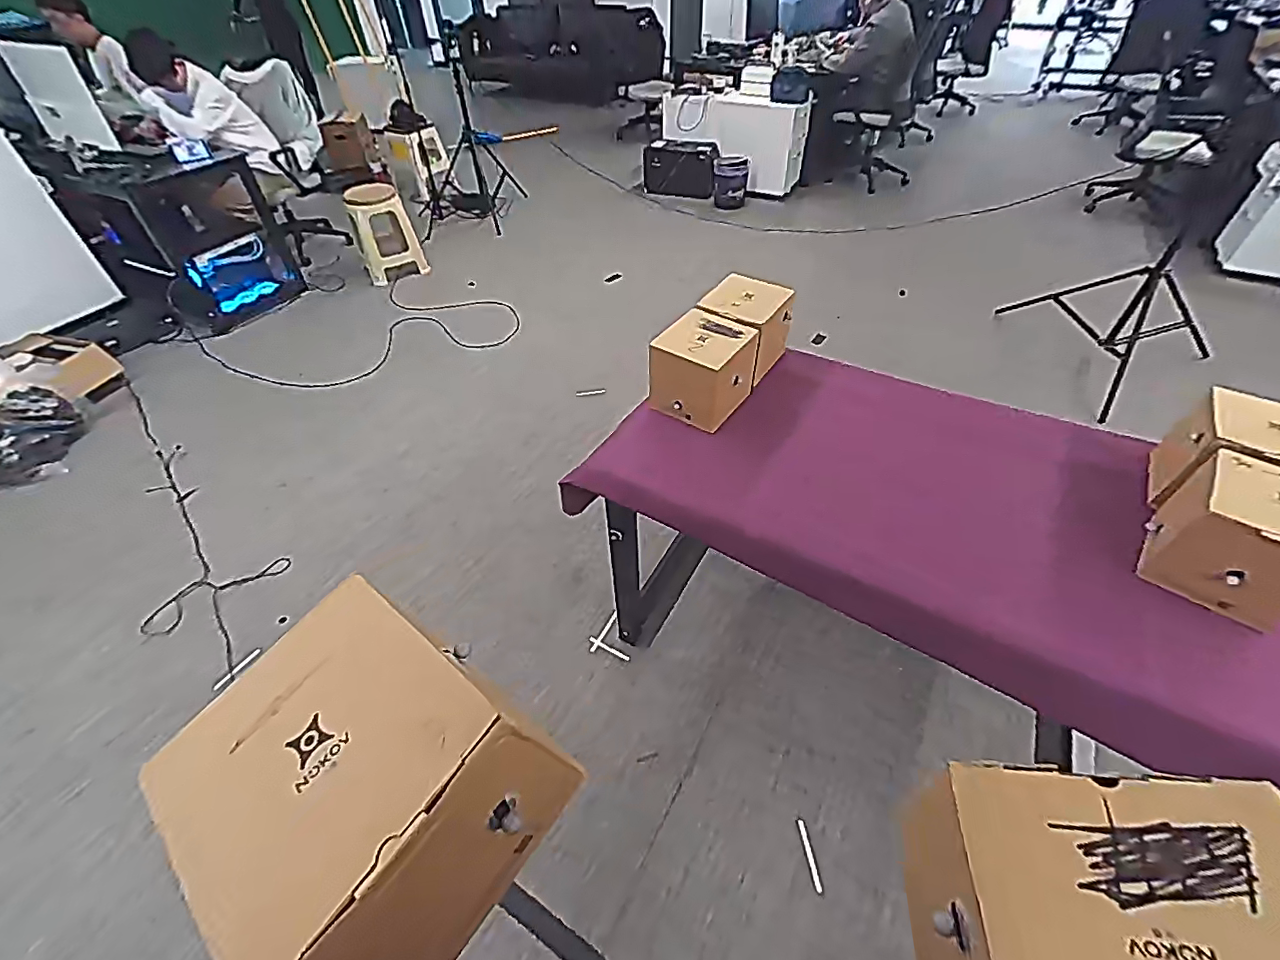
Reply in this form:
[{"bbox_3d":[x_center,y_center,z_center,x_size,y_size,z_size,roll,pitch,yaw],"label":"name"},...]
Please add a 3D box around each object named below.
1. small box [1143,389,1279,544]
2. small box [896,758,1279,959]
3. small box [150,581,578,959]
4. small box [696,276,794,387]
[{"bbox_3d":[1.030,-0.025,0.944,0.168,0.176,0.179,26,51,23],"label":"small box"},{"bbox_3d":[0.265,0.283,0.317,0.168,0.176,0.179,-2,51,11],"label":"small box"},{"bbox_3d":[-0.170,0.209,0.381,0.179,0.176,0.168,25,61,32],"label":"small box"},{"bbox_3d":[0.241,-0.352,1.281,0.168,0.176,0.179,26,53,24],"label":"small box"}]
